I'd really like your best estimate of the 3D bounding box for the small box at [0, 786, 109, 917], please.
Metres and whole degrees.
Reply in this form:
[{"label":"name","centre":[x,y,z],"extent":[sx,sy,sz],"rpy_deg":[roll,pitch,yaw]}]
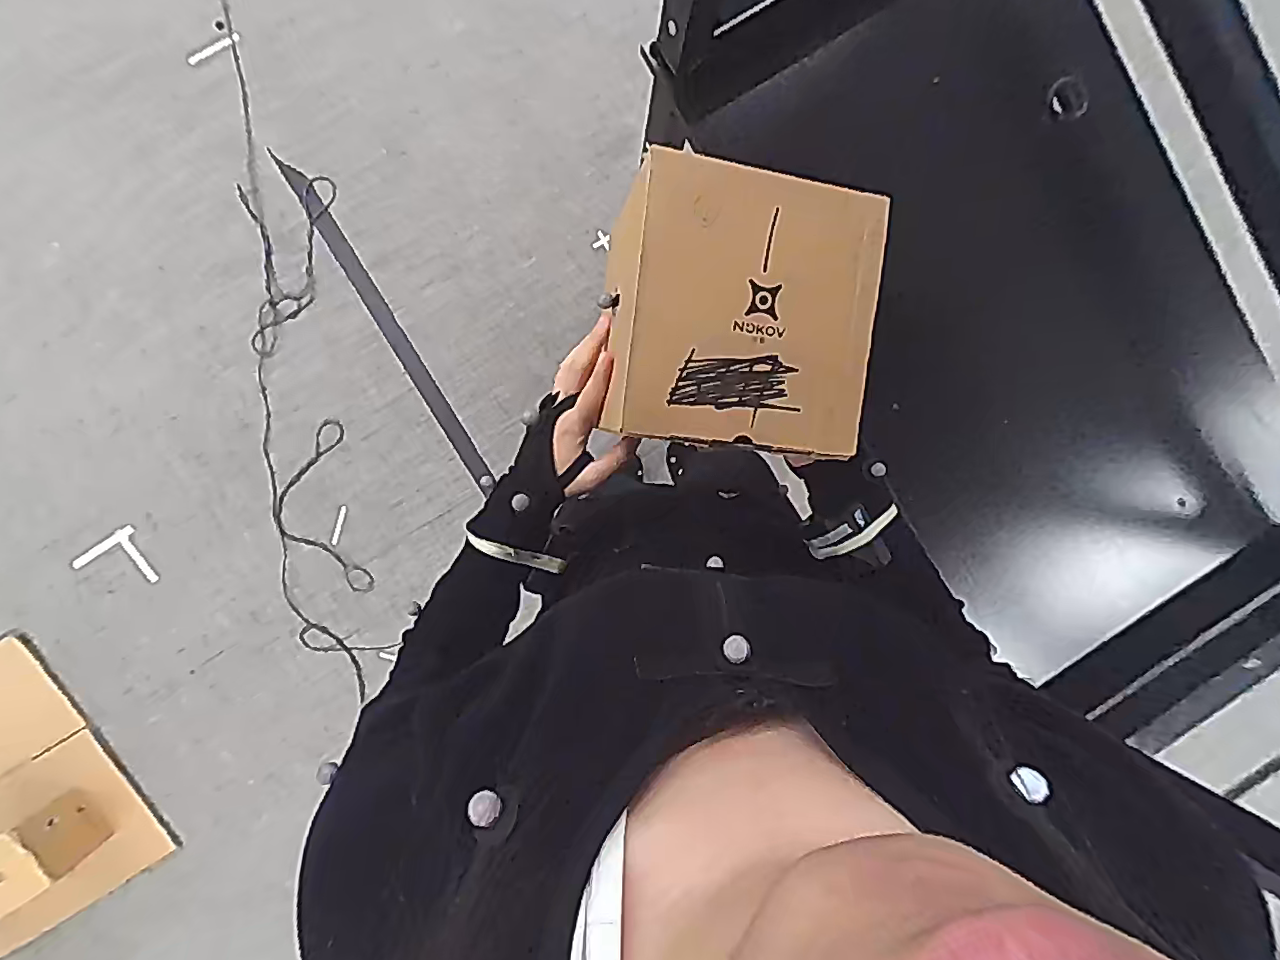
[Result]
[{"label":"small box","centre":[-1.474,0.900,1.323],"extent":[0.179,0.176,0.168],"rpy_deg":[-34,95,-1]}]
